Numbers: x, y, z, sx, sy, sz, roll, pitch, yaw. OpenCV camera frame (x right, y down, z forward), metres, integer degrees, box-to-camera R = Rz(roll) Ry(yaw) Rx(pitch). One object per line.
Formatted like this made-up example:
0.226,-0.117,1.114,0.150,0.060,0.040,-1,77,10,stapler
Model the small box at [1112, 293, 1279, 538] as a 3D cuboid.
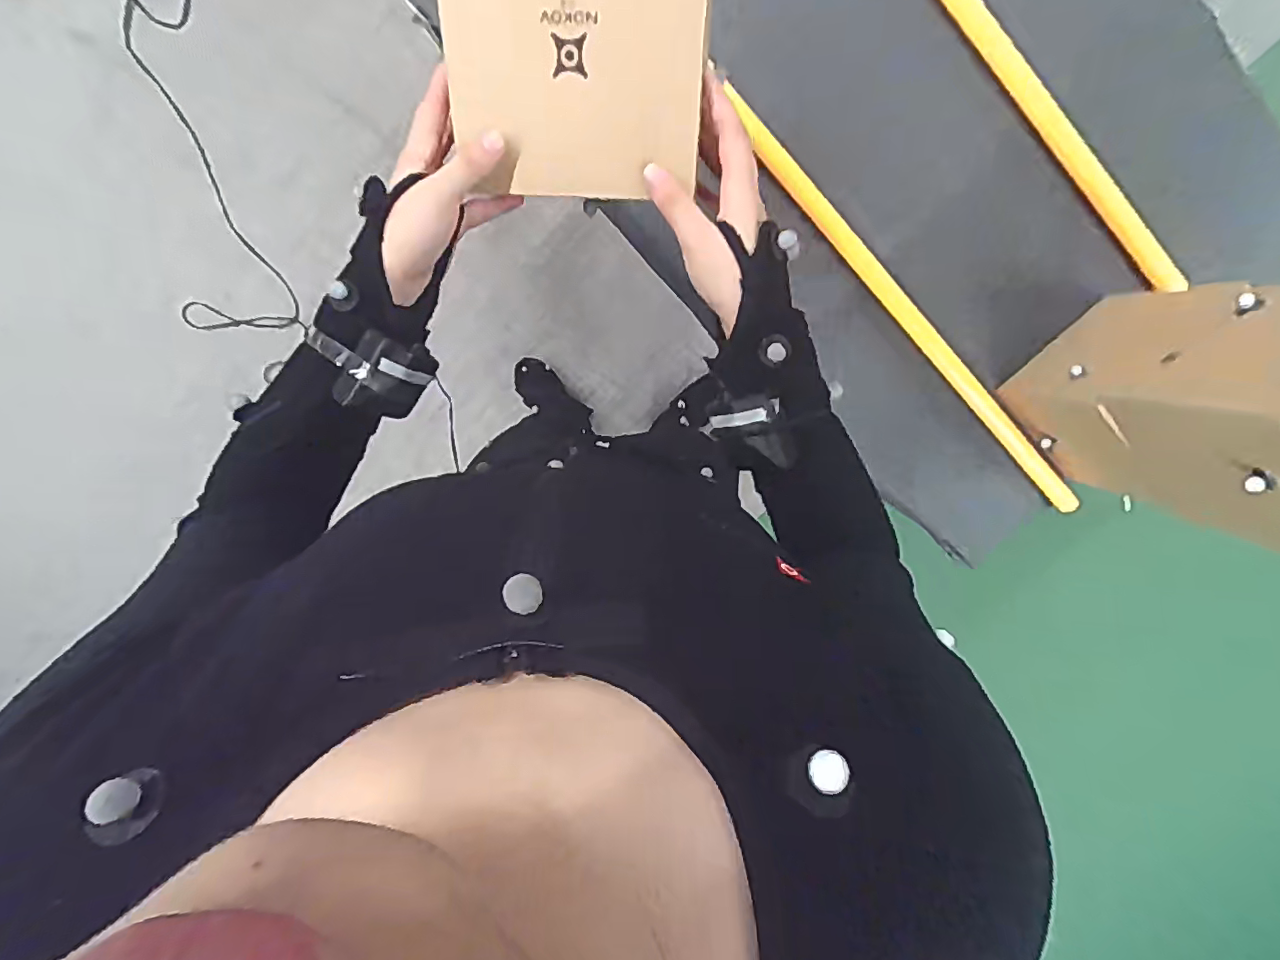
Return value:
0.585,-0.055,0.476,0.168,0.176,0.179,-39,101,9,small box
